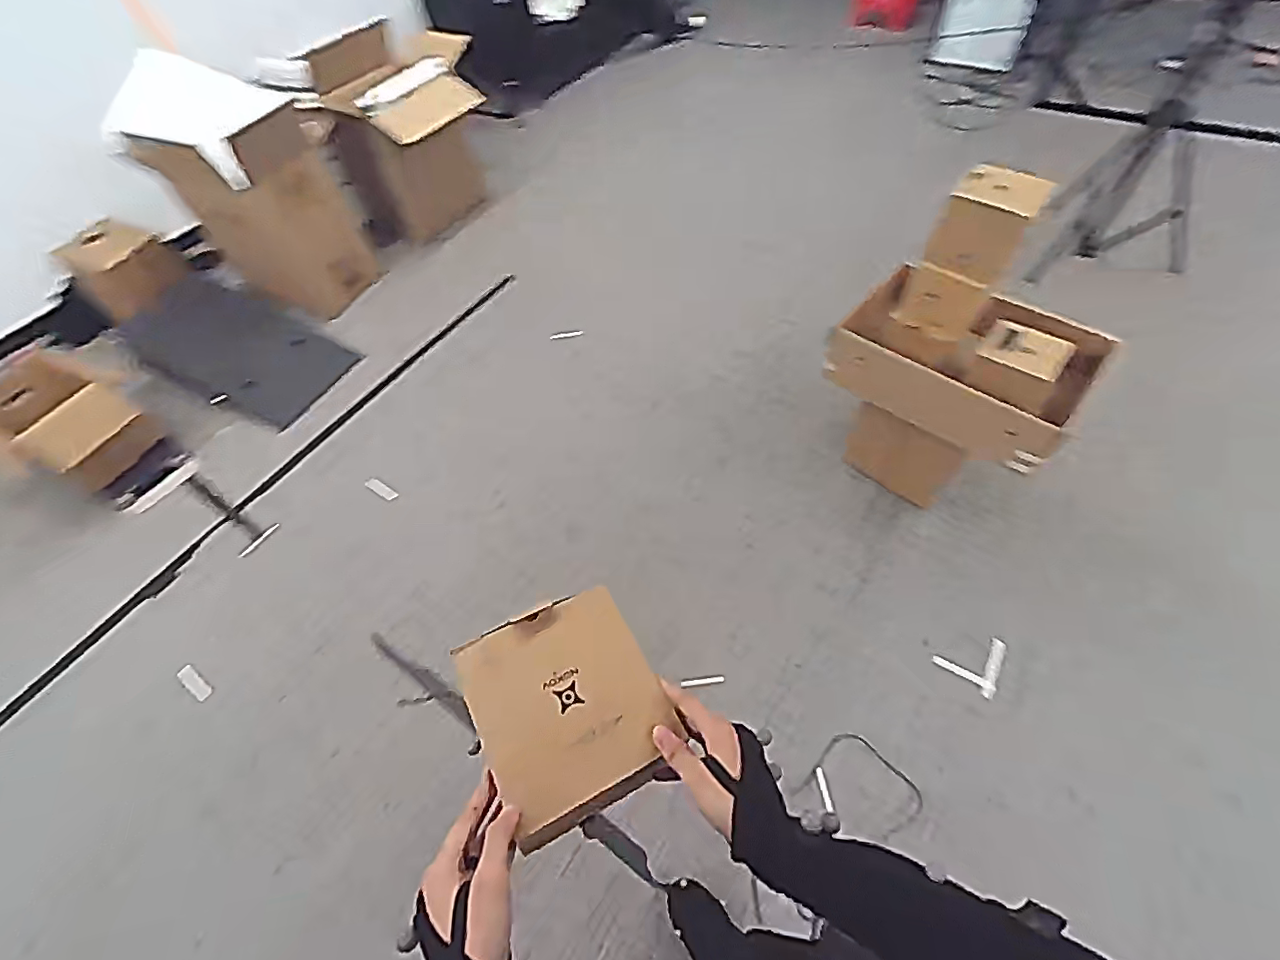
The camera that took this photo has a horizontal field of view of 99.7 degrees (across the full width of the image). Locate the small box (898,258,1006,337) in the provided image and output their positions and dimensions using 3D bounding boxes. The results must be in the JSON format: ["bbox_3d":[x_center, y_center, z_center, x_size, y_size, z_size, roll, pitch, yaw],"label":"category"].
[{"bbox_3d":[0.794,-0.500,1.390,0.168,0.176,0.179,35,65,23],"label":"small box"}]

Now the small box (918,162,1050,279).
[{"bbox_3d":[0.791,-0.596,1.257,0.179,0.176,0.168,35,64,23],"label":"small box"}]

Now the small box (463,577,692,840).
[{"bbox_3d":[-0.071,0.237,0.561,0.168,0.176,0.179,-18,57,-21],"label":"small box"}]
